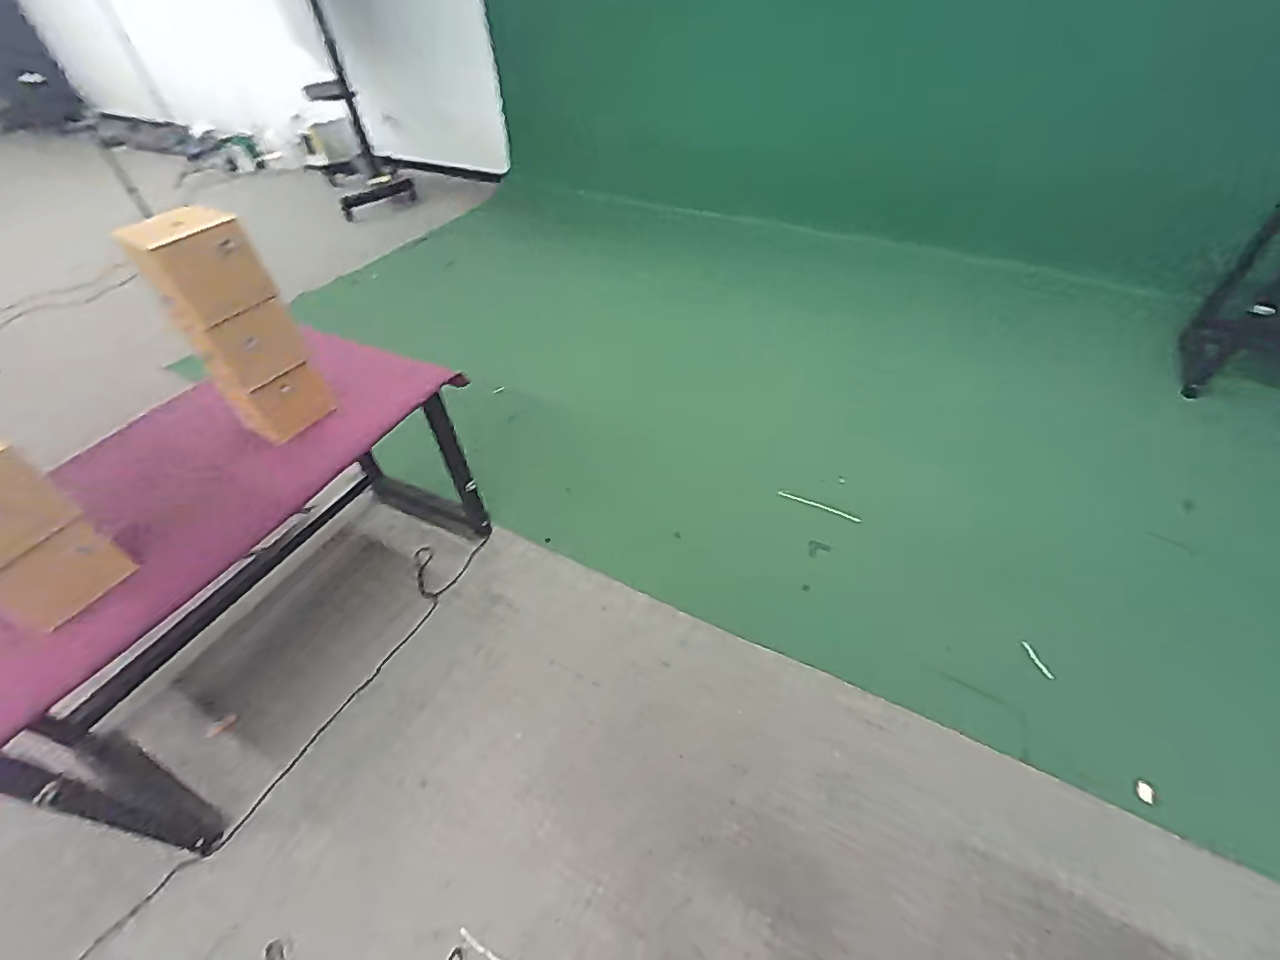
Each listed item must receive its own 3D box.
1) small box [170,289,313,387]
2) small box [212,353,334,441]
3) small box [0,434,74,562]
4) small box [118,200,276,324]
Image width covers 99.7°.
[{"bbox_3d":[-0.910,-0.341,1.251,0.168,0.176,0.179,25,53,22],"label":"small box"},{"bbox_3d":[-0.916,-0.233,1.374,0.168,0.176,0.179,24,53,22],"label":"small box"},{"bbox_3d":[-1.121,0.026,0.902,0.168,0.176,0.179,18,50,18],"label":"small box"},{"bbox_3d":[-0.908,-0.457,1.132,0.168,0.176,0.179,24,53,23],"label":"small box"}]
